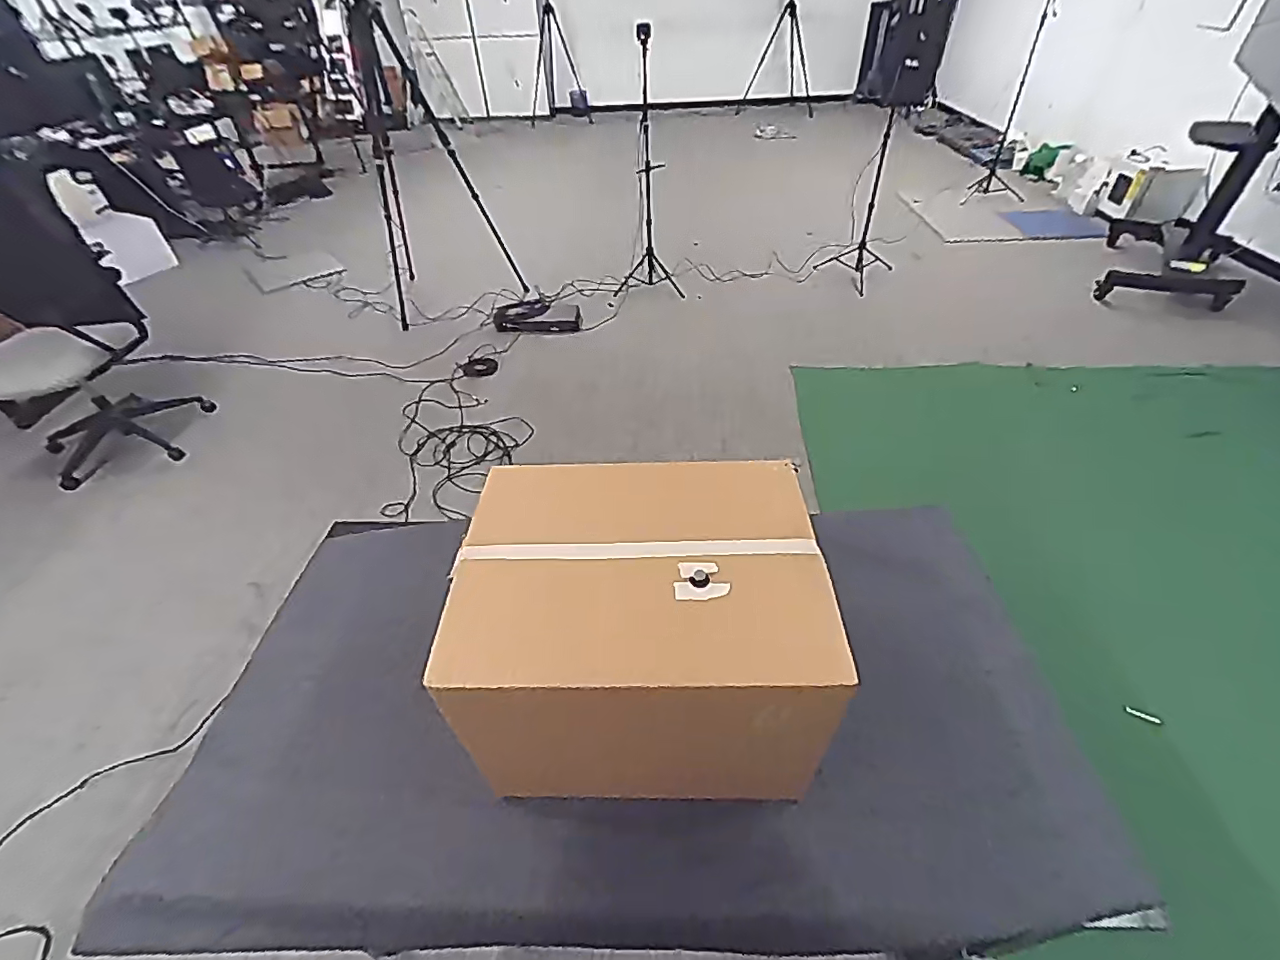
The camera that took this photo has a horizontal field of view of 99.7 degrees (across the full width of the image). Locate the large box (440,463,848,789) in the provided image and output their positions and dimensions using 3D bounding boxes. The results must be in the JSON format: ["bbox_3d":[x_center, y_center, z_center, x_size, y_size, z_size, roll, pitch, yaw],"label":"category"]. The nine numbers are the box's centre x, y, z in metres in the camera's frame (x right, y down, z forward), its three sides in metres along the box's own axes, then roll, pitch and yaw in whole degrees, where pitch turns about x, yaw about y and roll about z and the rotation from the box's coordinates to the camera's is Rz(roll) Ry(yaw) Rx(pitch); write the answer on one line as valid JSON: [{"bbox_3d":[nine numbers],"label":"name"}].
[{"bbox_3d":[0.006,0.194,0.726,0.408,0.320,0.320,-1,44,2],"label":"large box"}]
